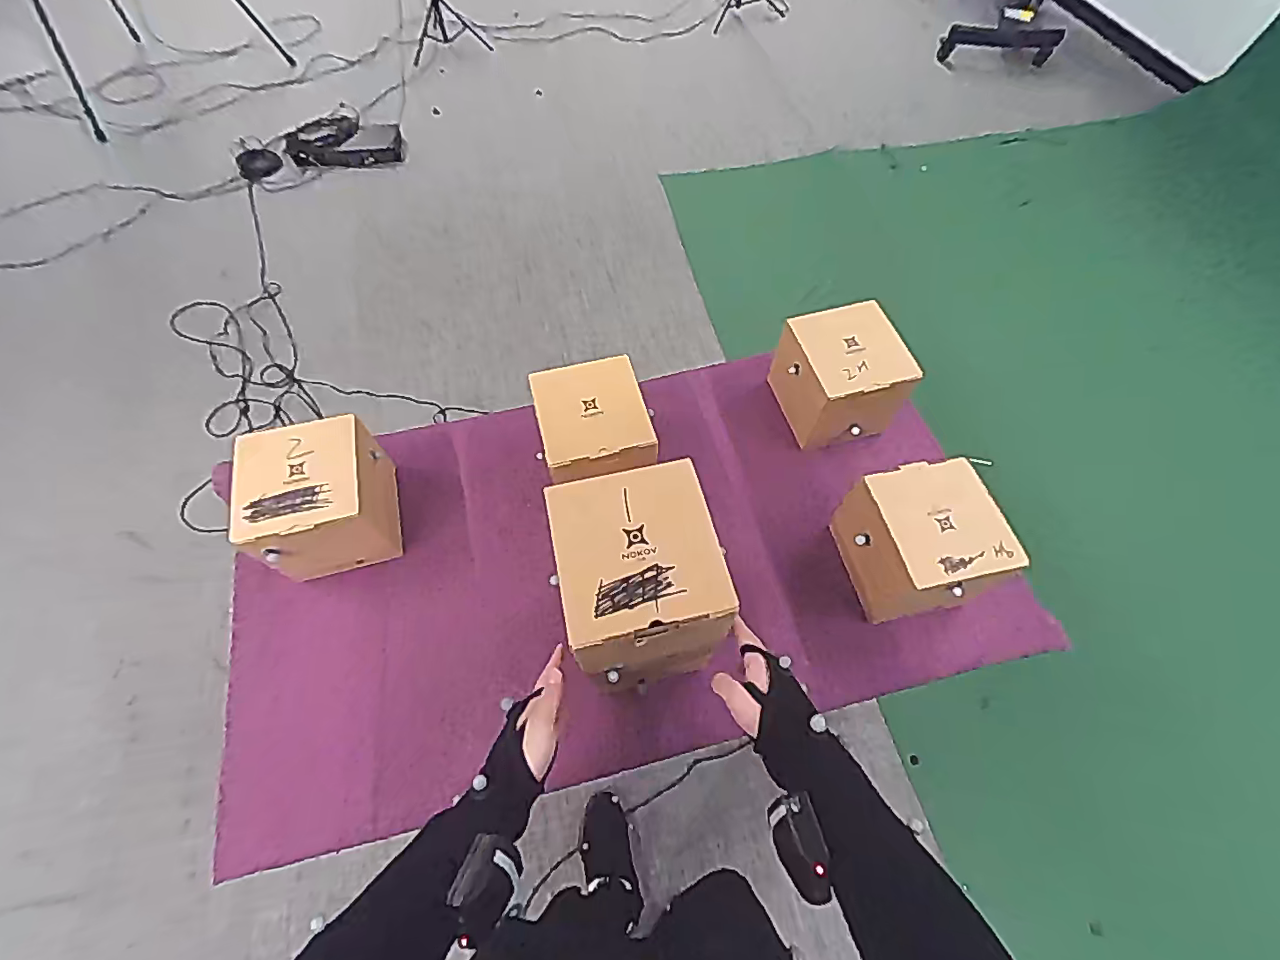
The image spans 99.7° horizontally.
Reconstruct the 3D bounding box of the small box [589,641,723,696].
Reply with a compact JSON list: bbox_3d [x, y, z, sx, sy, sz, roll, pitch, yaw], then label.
[{"bbox_3d":[0.001,0.183,0.751,0.168,0.176,0.179,-12,62,-7],"label":"small box"}]

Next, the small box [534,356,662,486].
[{"bbox_3d":[-0.071,-0.071,0.889,0.168,0.176,0.179,-13,64,-9],"label":"small box"}]

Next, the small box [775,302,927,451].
[{"bbox_3d":[0.354,-0.178,0.952,0.168,0.176,0.179,-14,63,-6],"label":"small box"}]

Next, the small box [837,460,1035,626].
[{"bbox_3d":[0.419,0.097,0.806,0.168,0.176,0.179,-10,60,-6],"label":"small box"}]

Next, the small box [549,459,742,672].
[{"bbox_3d":[0.002,0.105,0.606,0.168,0.176,0.179,-11,60,-6],"label":"small box"}]
